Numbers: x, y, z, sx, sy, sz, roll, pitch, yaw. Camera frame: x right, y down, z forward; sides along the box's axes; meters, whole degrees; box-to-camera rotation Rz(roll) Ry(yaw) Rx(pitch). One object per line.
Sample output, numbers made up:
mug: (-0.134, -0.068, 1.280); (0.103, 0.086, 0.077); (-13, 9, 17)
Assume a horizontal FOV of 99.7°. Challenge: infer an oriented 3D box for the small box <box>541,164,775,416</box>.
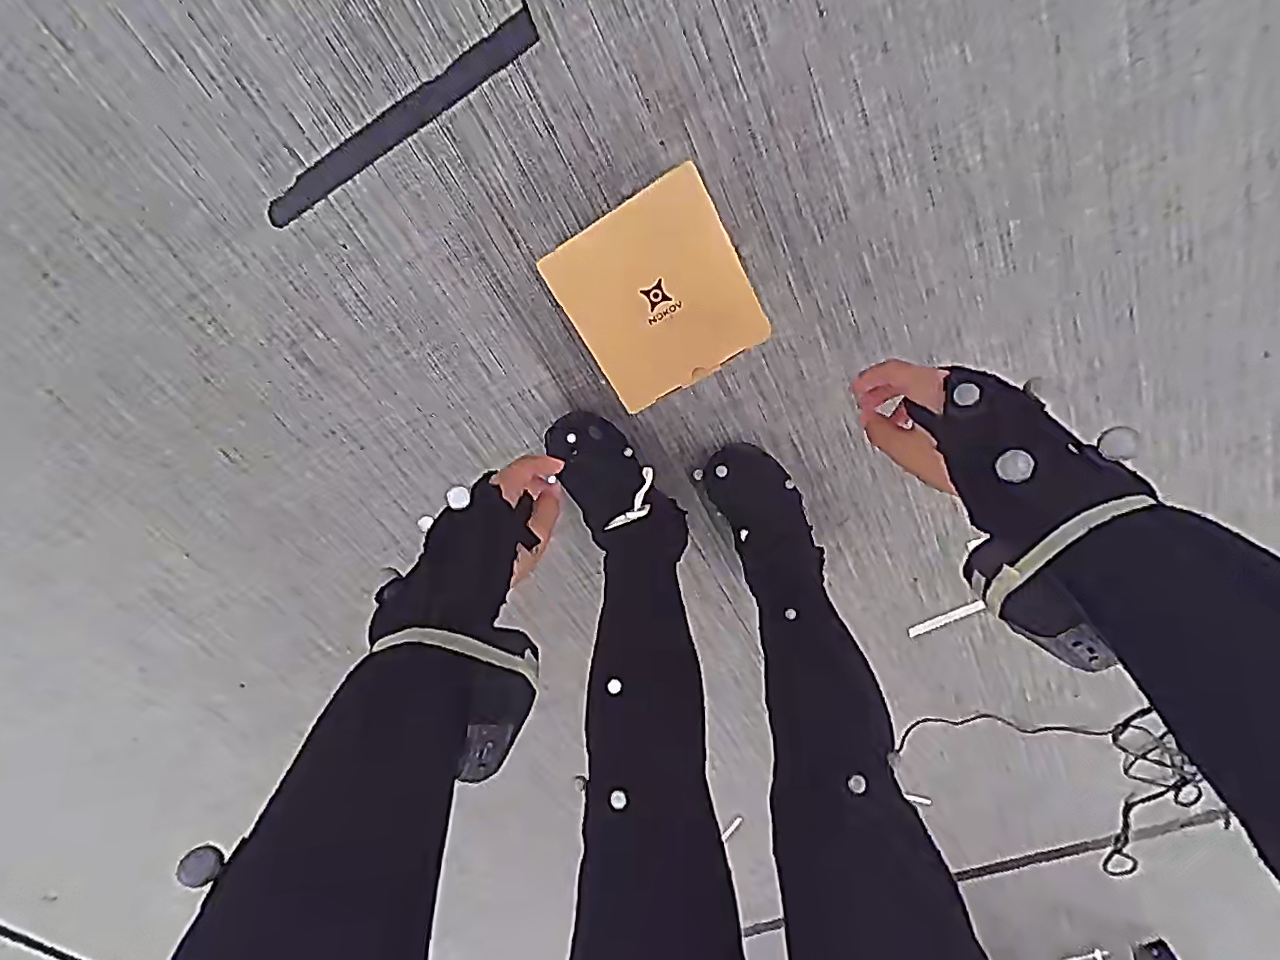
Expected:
small box: (0.018, -0.203, 0.578); (0.168, 0.176, 0.179); (-28, 116, 13)
